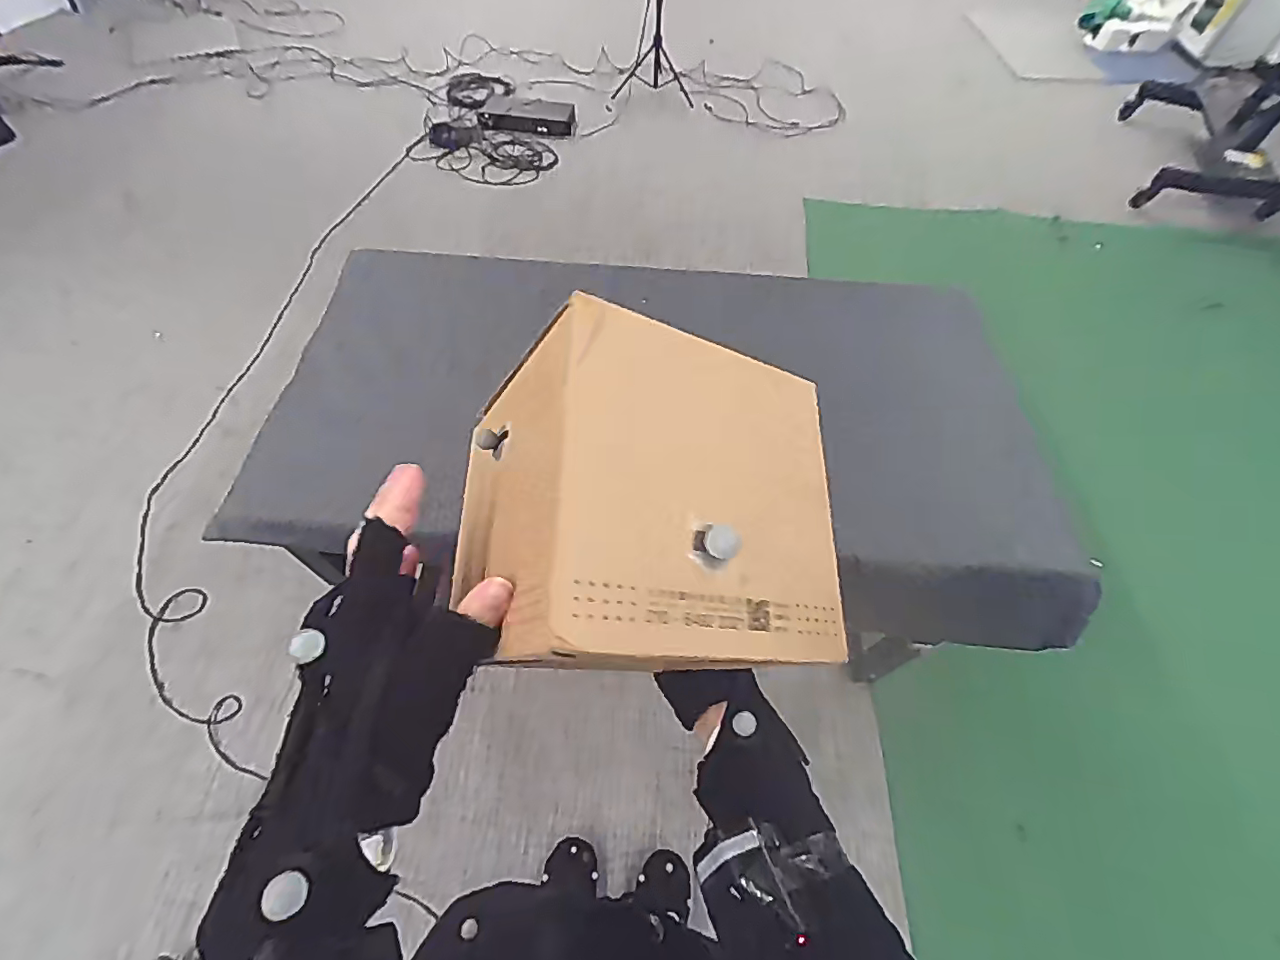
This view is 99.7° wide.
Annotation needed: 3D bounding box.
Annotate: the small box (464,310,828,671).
[{"bbox_3d":[-0.005,0.030,0.350,0.168,0.179,0.176,12,67,-30],"label":"small box"}]
